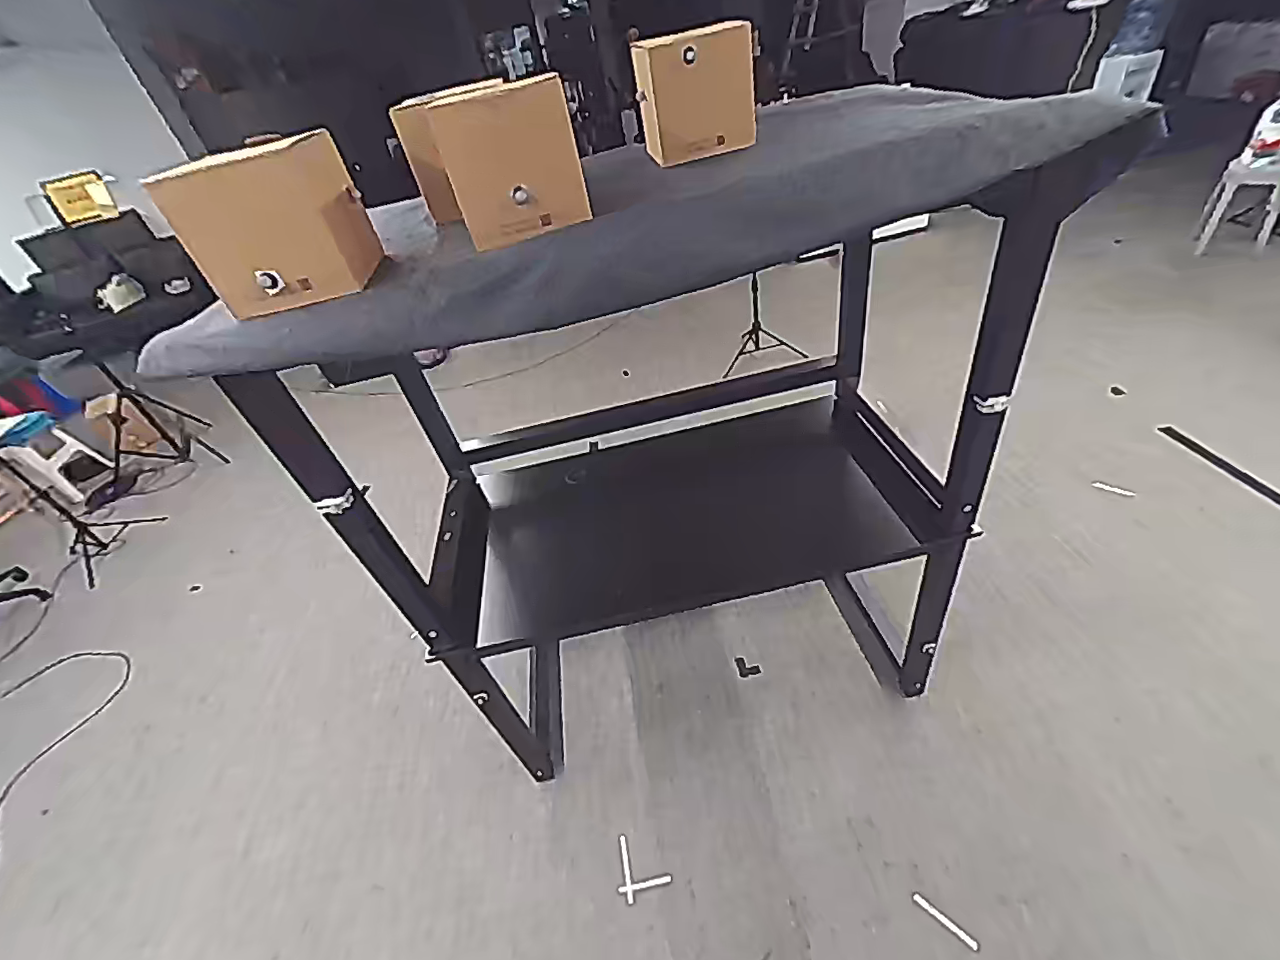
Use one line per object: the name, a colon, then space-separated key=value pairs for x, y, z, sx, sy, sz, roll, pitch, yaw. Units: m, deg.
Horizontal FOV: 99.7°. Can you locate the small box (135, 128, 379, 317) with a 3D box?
small box: x=-0.461 y=-0.329 z=0.692 sx=0.168 sy=0.176 sz=0.179 roll=-15 pitch=39 yaw=-2

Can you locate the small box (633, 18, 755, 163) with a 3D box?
small box: x=0.092 y=-0.661 z=0.926 sx=0.168 sy=0.176 sz=0.179 roll=-14 pitch=39 yaw=0
